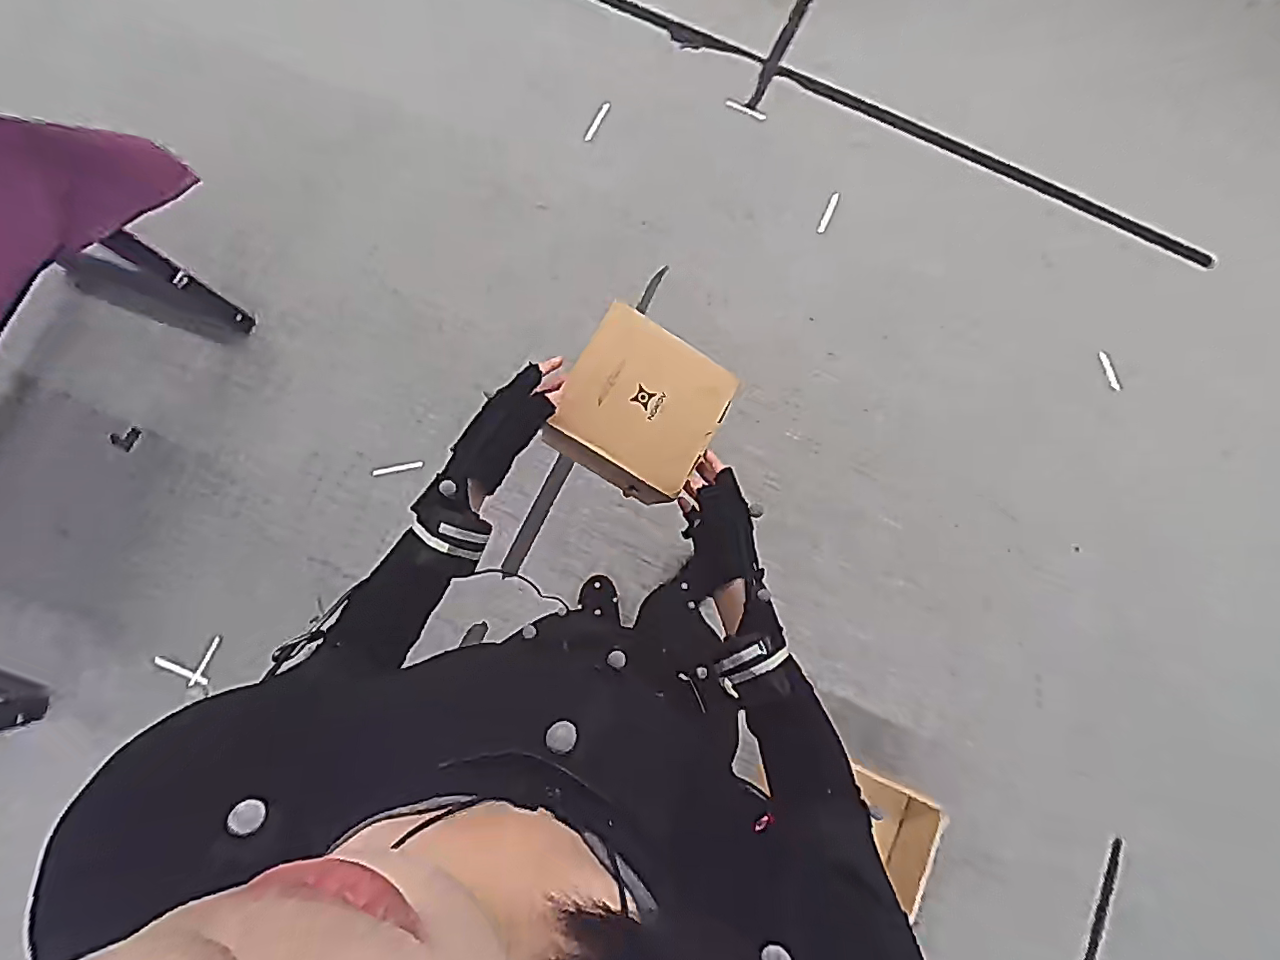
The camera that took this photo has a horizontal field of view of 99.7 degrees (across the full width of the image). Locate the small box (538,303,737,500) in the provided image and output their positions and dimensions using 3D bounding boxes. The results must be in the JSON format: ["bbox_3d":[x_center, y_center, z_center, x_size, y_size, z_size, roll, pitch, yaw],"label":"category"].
[{"bbox_3d":[-0.011,-0.085,0.685,0.179,0.176,0.168,29,81,-6],"label":"small box"}]
